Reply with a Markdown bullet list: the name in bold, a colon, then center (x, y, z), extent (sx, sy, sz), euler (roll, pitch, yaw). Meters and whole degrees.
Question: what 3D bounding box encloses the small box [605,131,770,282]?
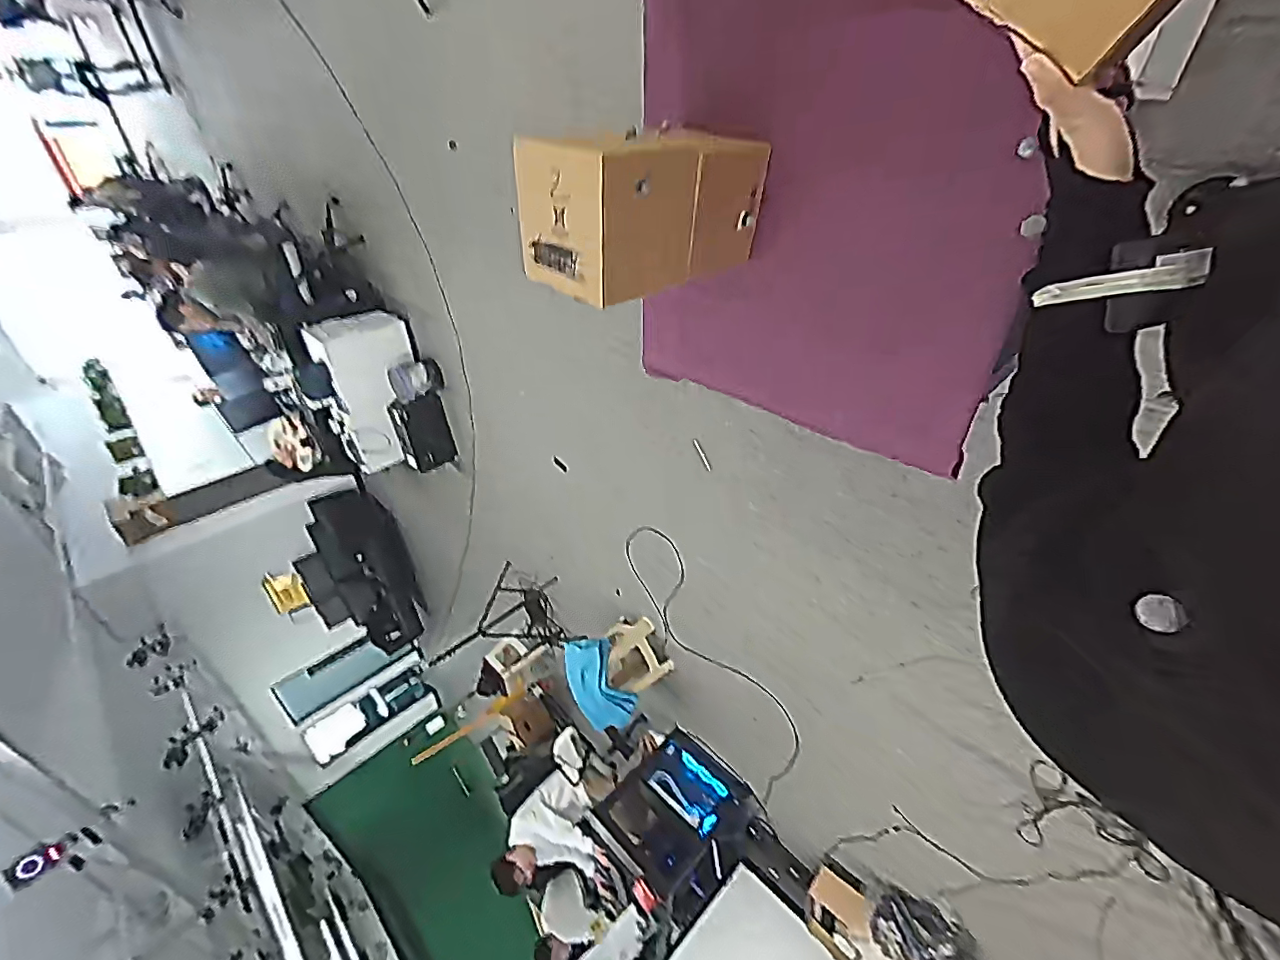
- **small box**: center (0.067, -0.424, 0.824), extent (0.179, 0.176, 0.168), euler (33, 138, 30)
